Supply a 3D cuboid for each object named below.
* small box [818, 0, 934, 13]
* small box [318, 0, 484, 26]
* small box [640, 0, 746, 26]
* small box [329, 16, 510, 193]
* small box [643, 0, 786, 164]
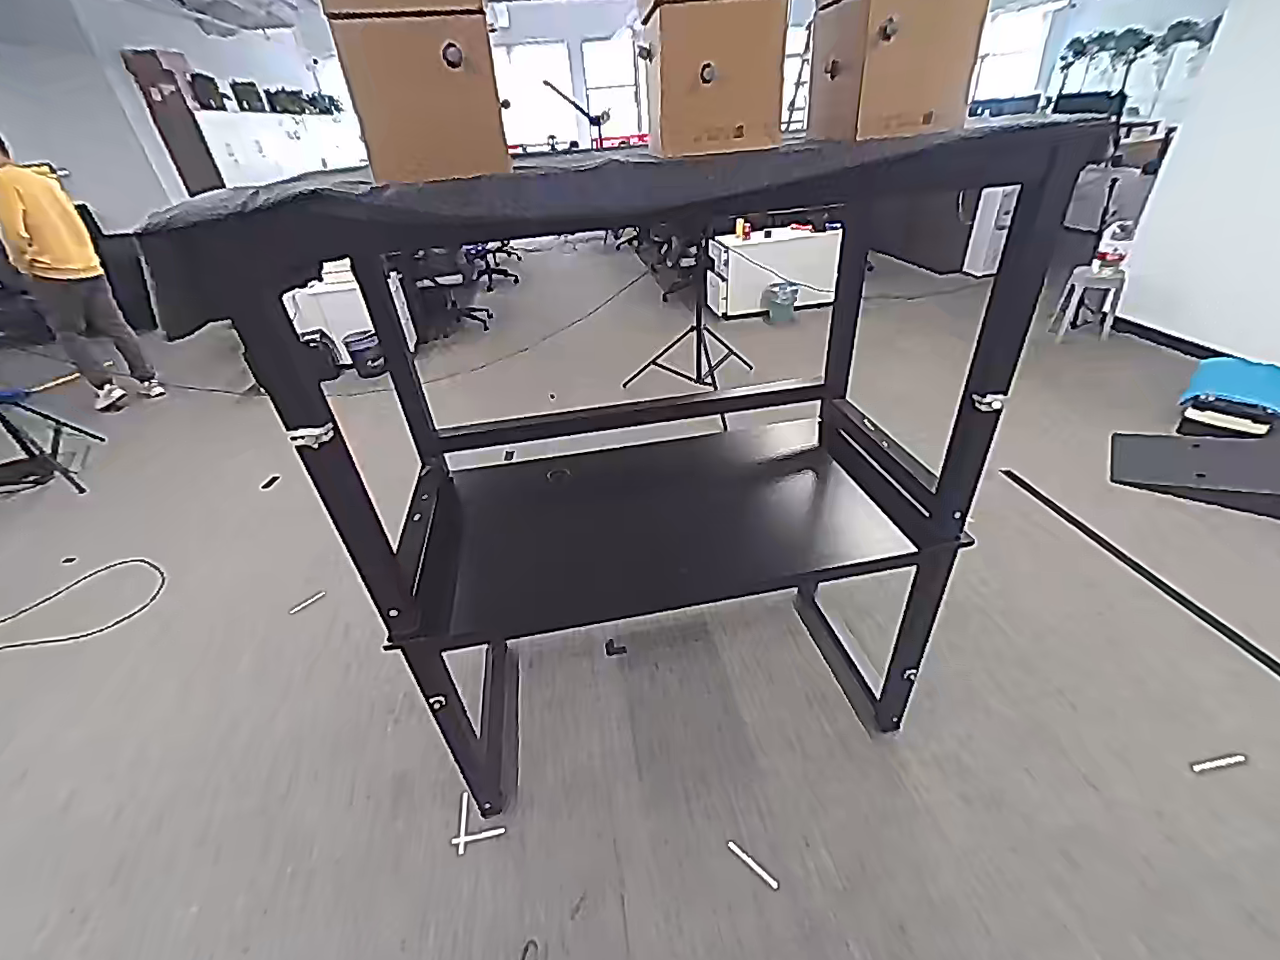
[{"bbox_3d":[0.346,-0.724,0.691,0.179,0.176,0.168,-10,31,-4],"label":"small box"},{"bbox_3d":[-0.283,-0.624,0.624,0.179,0.176,0.168,-9,32,-9],"label":"small box"},{"bbox_3d":[0.087,-0.692,0.679,0.179,0.176,0.168,-8,32,-2],"label":"small box"},{"bbox_3d":[-0.272,-0.489,0.717,0.179,0.176,0.168,-11,33,-9],"label":"small box"},{"bbox_3d":[0.100,-0.559,0.776,0.168,0.176,0.179,-7,32,-3],"label":"small box"}]
